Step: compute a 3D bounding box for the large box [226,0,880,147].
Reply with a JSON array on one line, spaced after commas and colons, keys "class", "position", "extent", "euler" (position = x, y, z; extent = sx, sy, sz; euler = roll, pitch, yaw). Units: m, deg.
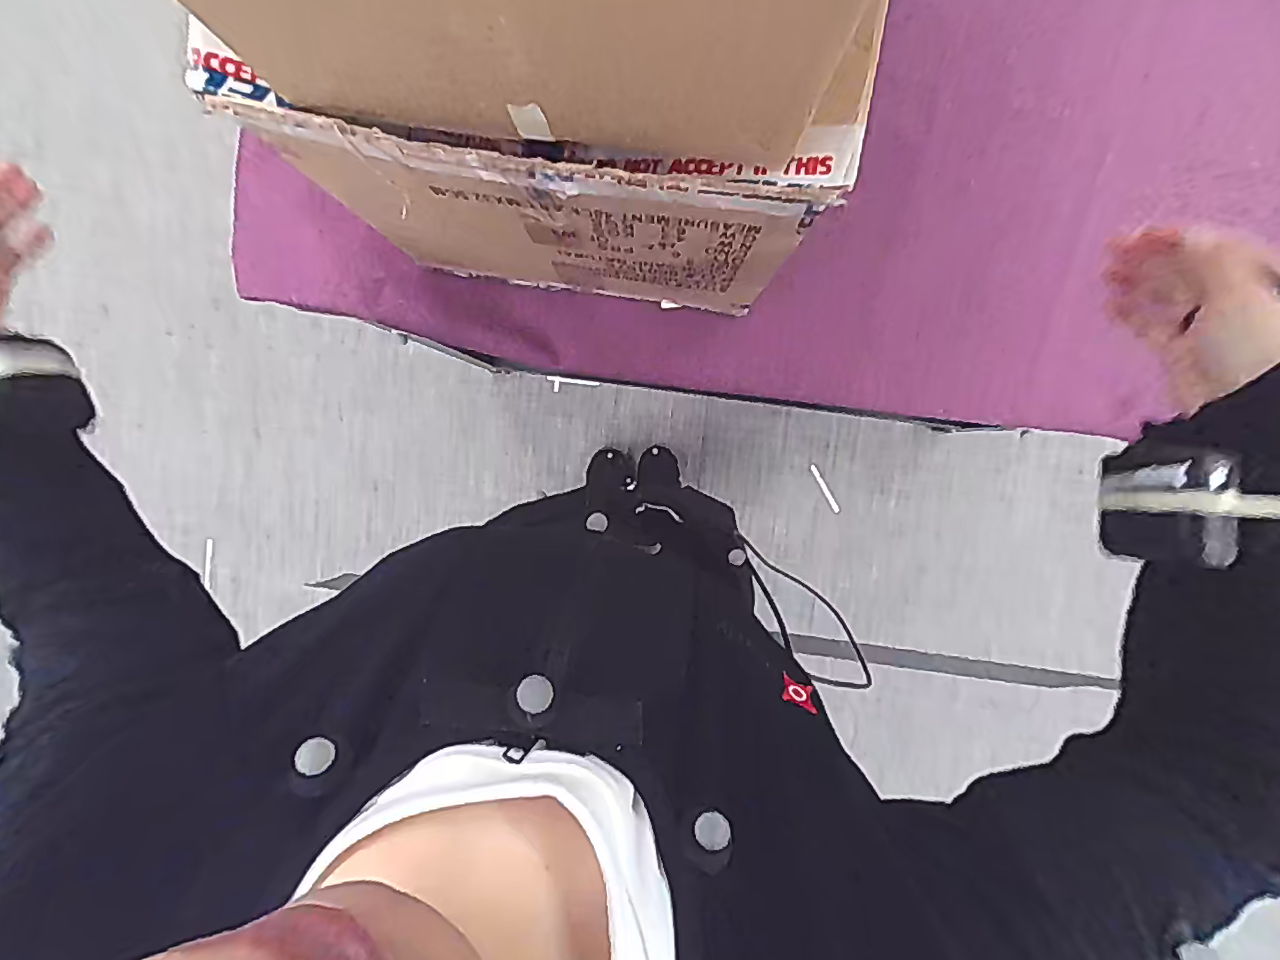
[{"class": "large box", "position": [-0.031, -0.399, 0.161], "extent": [0.320, 0.320, 0.408], "euler": [7, 95, 2]}]
